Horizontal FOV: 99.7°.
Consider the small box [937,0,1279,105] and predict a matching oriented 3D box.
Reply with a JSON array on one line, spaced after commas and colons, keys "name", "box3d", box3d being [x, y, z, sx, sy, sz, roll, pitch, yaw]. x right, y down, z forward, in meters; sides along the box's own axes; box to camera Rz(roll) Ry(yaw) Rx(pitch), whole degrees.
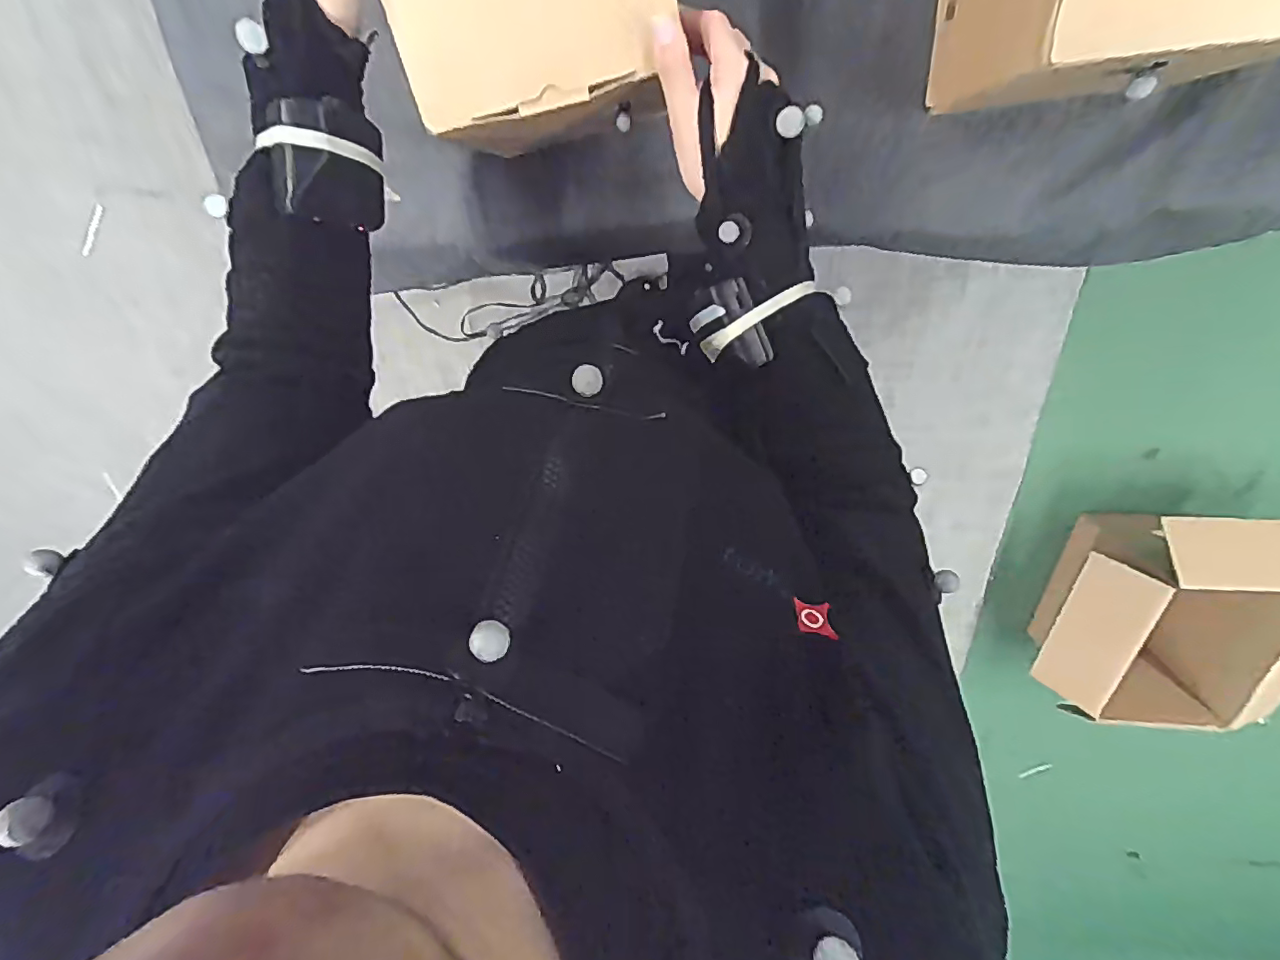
[{"name": "small box", "box3d": [0.312, -0.341, 0.322, 0.179, 0.176, 0.168, -2, 117, 7]}]
